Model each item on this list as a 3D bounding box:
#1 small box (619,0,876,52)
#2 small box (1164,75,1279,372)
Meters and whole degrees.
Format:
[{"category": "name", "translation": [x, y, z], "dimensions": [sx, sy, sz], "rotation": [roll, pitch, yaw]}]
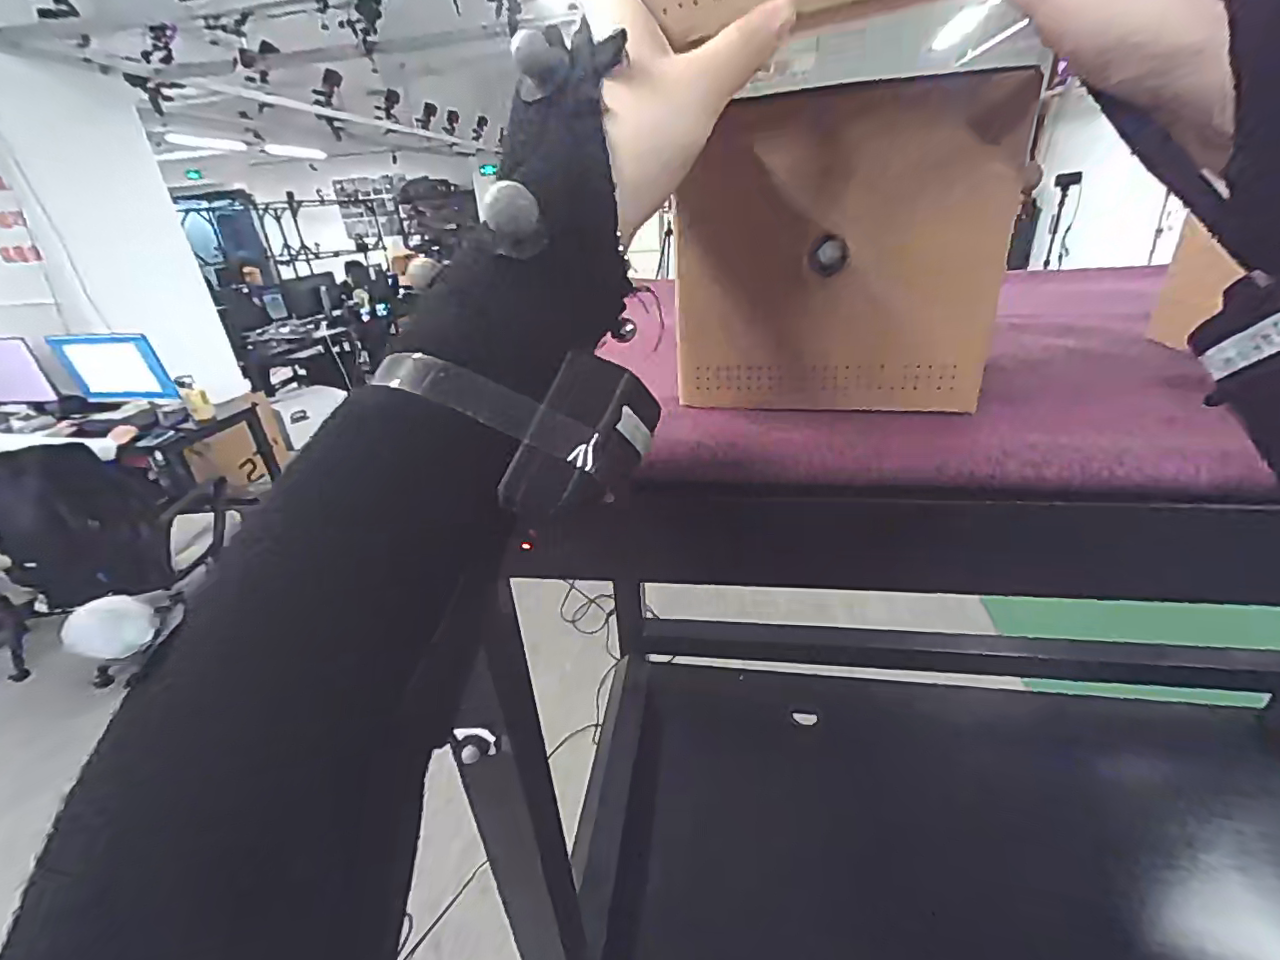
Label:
[{"category": "small box", "translation": [0.071, -0.297, 0.221], "dimensions": [0.168, 0.176, 0.179], "rotation": [0, 38, 19]}, {"category": "small box", "translation": [0.464, -0.153, 0.308], "dimensions": [0.168, 0.176, 0.179], "rotation": [2, 27, 14]}]
